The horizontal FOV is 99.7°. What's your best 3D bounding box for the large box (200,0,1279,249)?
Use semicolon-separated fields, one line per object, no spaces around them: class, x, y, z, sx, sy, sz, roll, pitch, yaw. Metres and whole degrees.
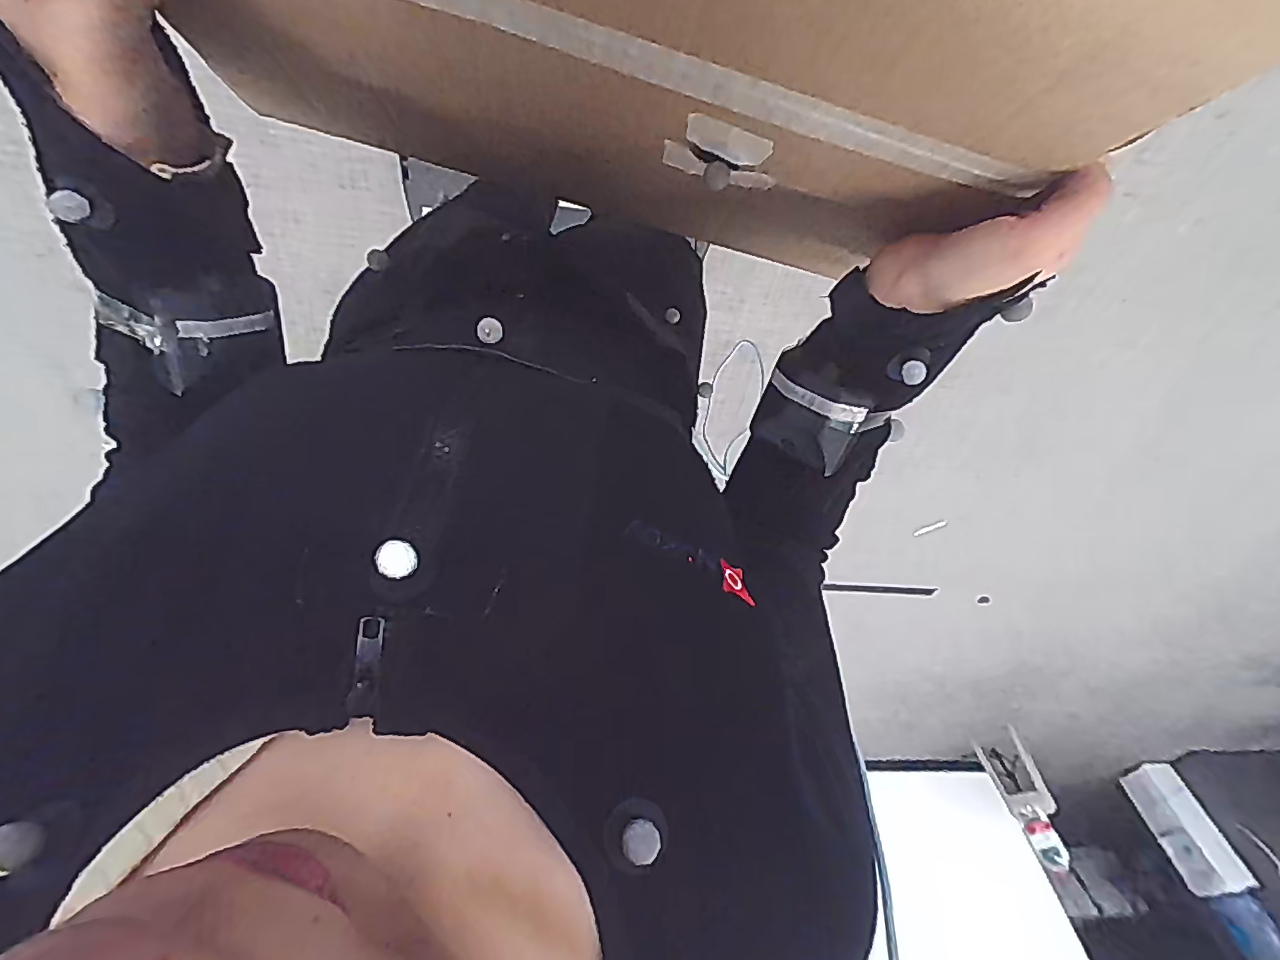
large box;0.030;-0.327;0.175;0.408;0.320;0.320;11;93;-8
